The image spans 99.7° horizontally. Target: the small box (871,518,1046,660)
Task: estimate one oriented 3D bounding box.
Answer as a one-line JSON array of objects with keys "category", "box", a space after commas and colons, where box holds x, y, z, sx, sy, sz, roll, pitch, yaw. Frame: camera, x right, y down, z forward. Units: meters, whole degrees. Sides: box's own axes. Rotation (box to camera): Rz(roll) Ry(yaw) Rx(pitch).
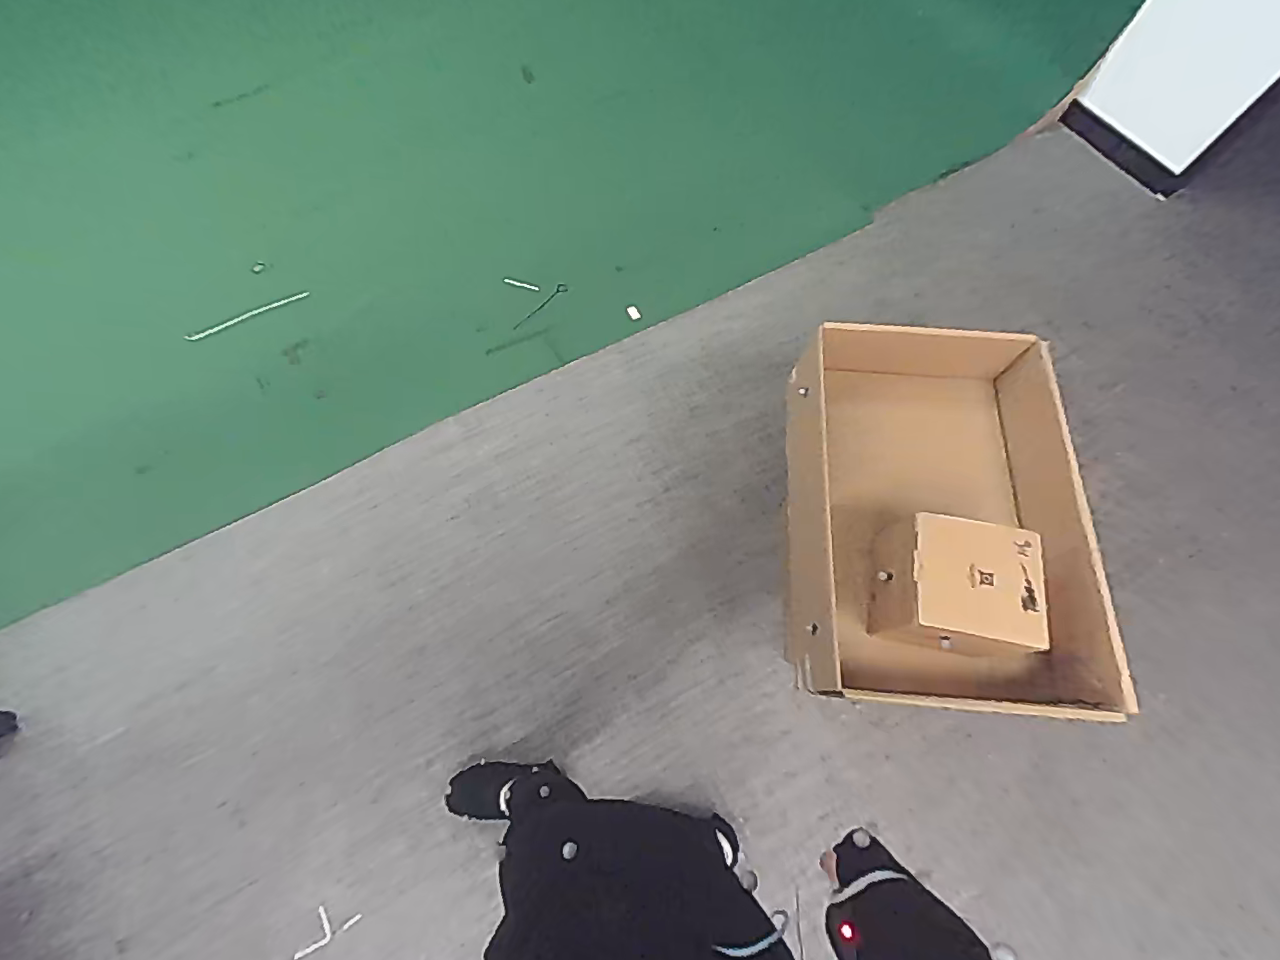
[{"category": "small box", "box": [0.469, 0.173, 0.824, 0.179, 0.176, 0.168, 10, 69, 5]}]
